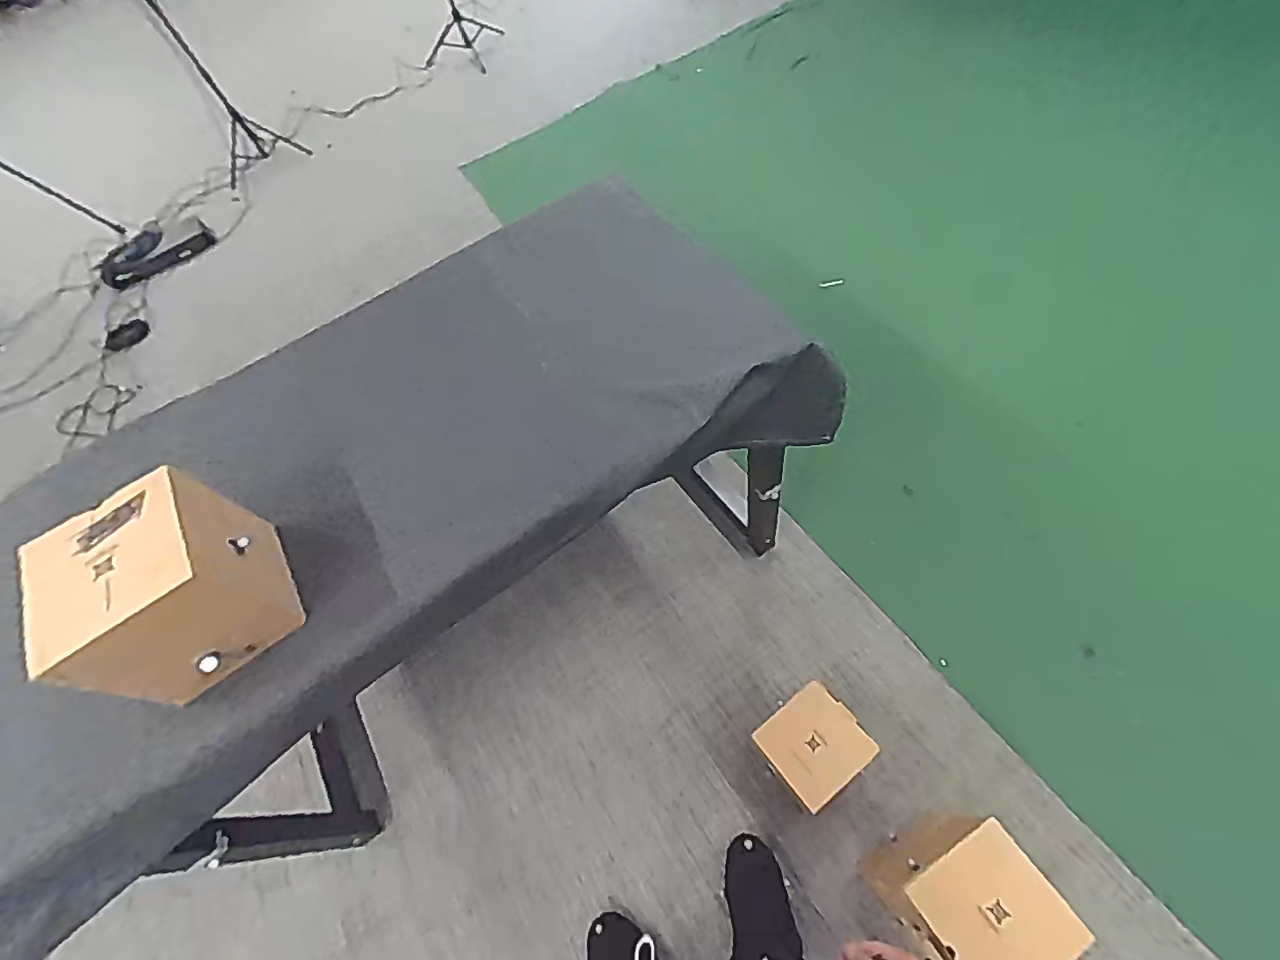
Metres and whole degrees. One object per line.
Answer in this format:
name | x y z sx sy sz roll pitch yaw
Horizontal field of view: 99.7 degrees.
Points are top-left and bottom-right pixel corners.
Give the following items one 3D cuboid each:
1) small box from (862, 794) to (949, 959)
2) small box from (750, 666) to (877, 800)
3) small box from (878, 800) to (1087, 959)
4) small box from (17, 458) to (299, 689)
small box | 0.516 0.686 0.953 0.179 0.176 0.168 -34 61 -7
small box | 0.337 0.508 1.087 0.179 0.176 0.168 -38 60 -10
small box | 0.492 0.608 0.811 0.179 0.176 0.168 -32 61 -8
small box | -0.541 0.114 0.624 0.168 0.176 0.179 -36 61 -10
